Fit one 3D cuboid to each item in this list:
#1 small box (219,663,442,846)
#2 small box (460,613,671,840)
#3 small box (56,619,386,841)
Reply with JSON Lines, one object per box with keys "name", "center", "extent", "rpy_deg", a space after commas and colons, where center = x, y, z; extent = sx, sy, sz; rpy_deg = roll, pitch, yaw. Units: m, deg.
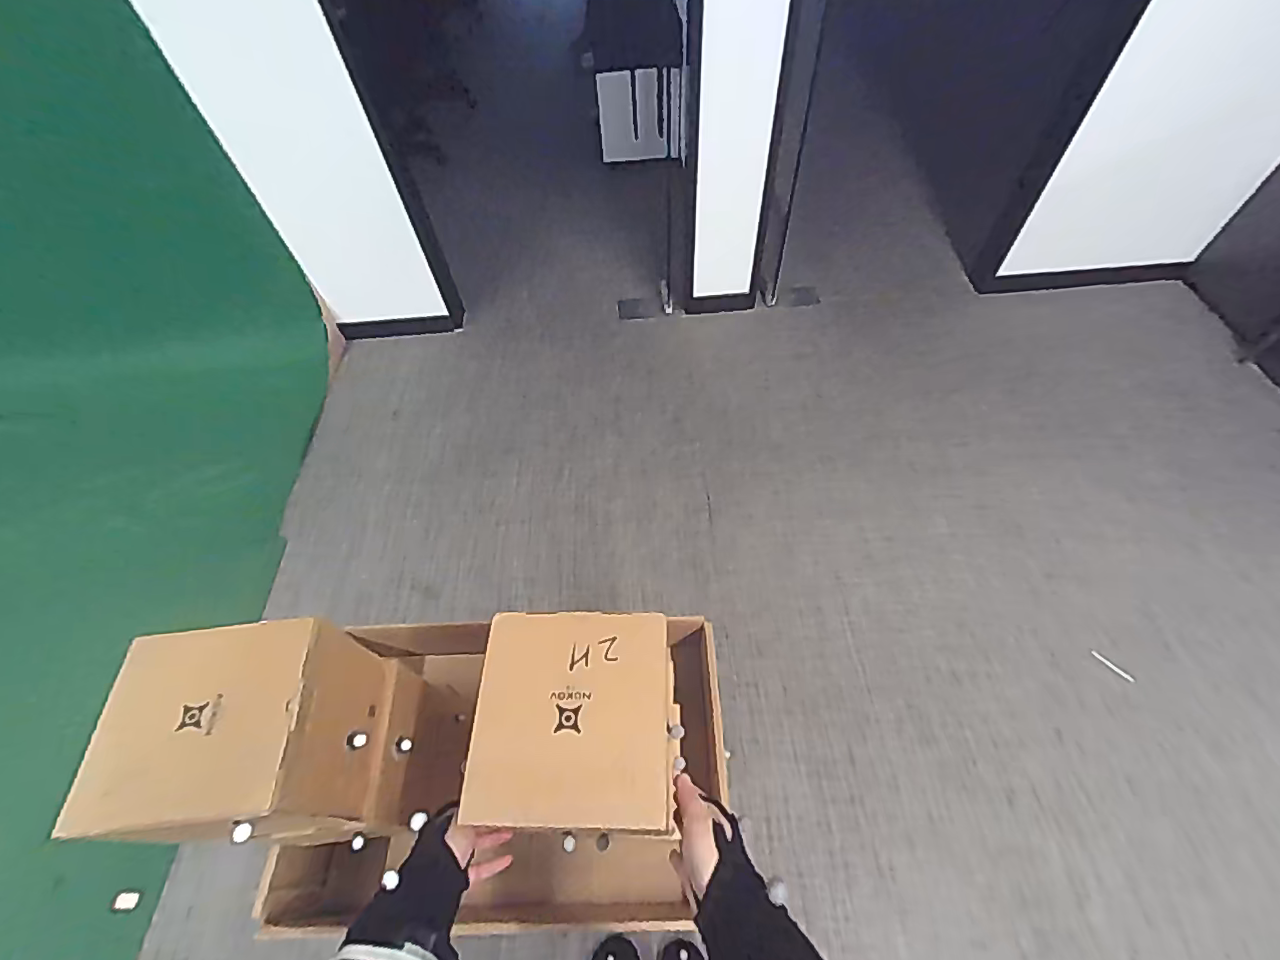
{"name": "small box", "center": [-0.363, 0.345, 0.677], "extent": [0.168, 0.176, 0.179], "rpy_deg": [-5, 55, -1]}
{"name": "small box", "center": [-0.053, 0.243, 0.527], "extent": [0.168, 0.176, 0.179], "rpy_deg": [0, 56, 3]}
{"name": "small box", "center": [-0.386, 0.256, 0.543], "extent": [0.179, 0.176, 0.168], "rpy_deg": [-6, 56, -3]}
